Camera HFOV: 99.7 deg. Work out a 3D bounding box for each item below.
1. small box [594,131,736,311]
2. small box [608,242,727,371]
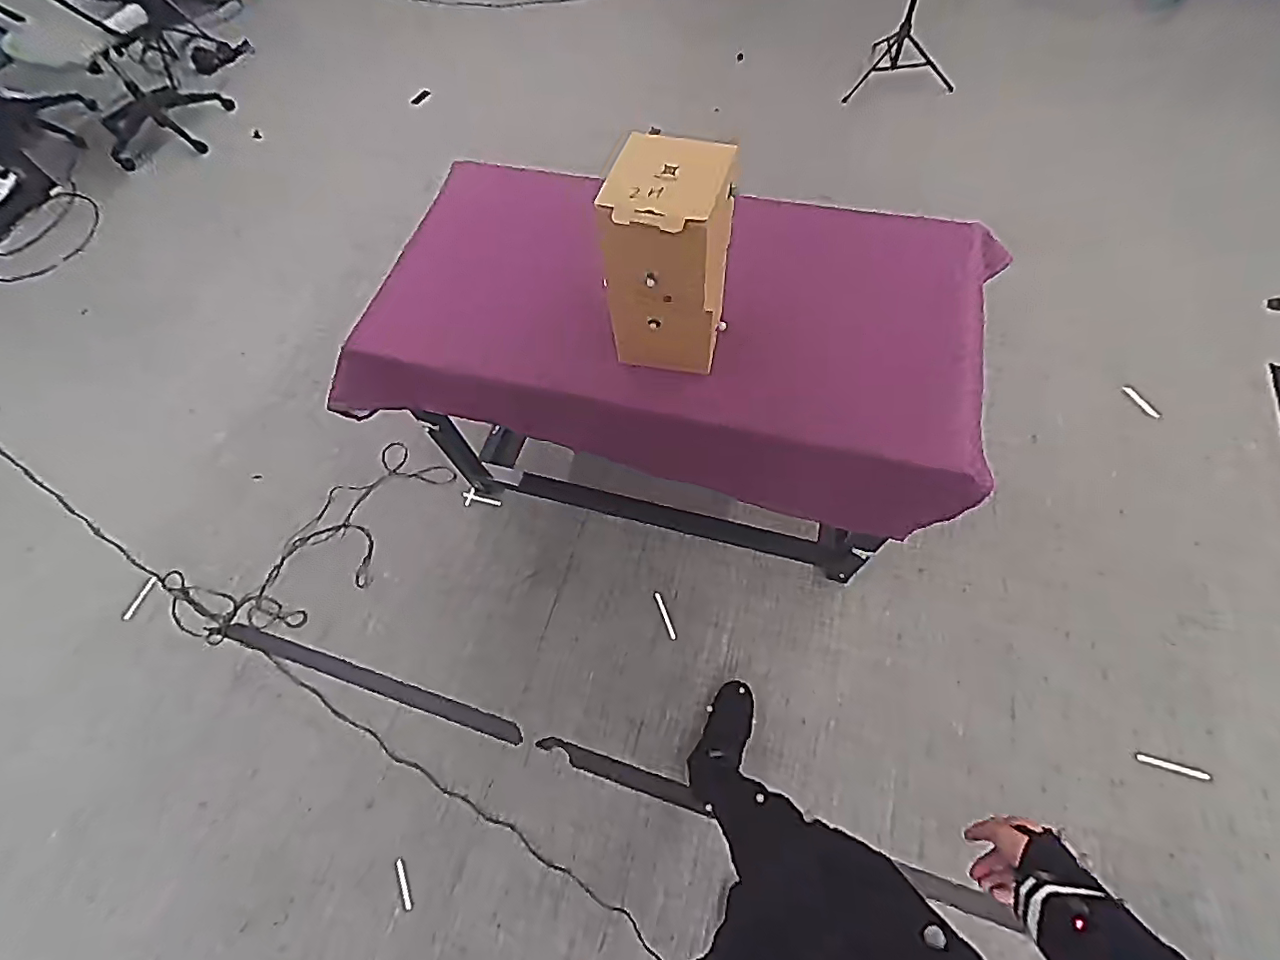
[{"bbox_3d":[0.042,-0.395,0.834,0.168,0.176,0.179,14,66,12],"label":"small box"},{"bbox_3d":[0.054,-0.318,0.980,0.179,0.176,0.168,9,65,9],"label":"small box"}]
